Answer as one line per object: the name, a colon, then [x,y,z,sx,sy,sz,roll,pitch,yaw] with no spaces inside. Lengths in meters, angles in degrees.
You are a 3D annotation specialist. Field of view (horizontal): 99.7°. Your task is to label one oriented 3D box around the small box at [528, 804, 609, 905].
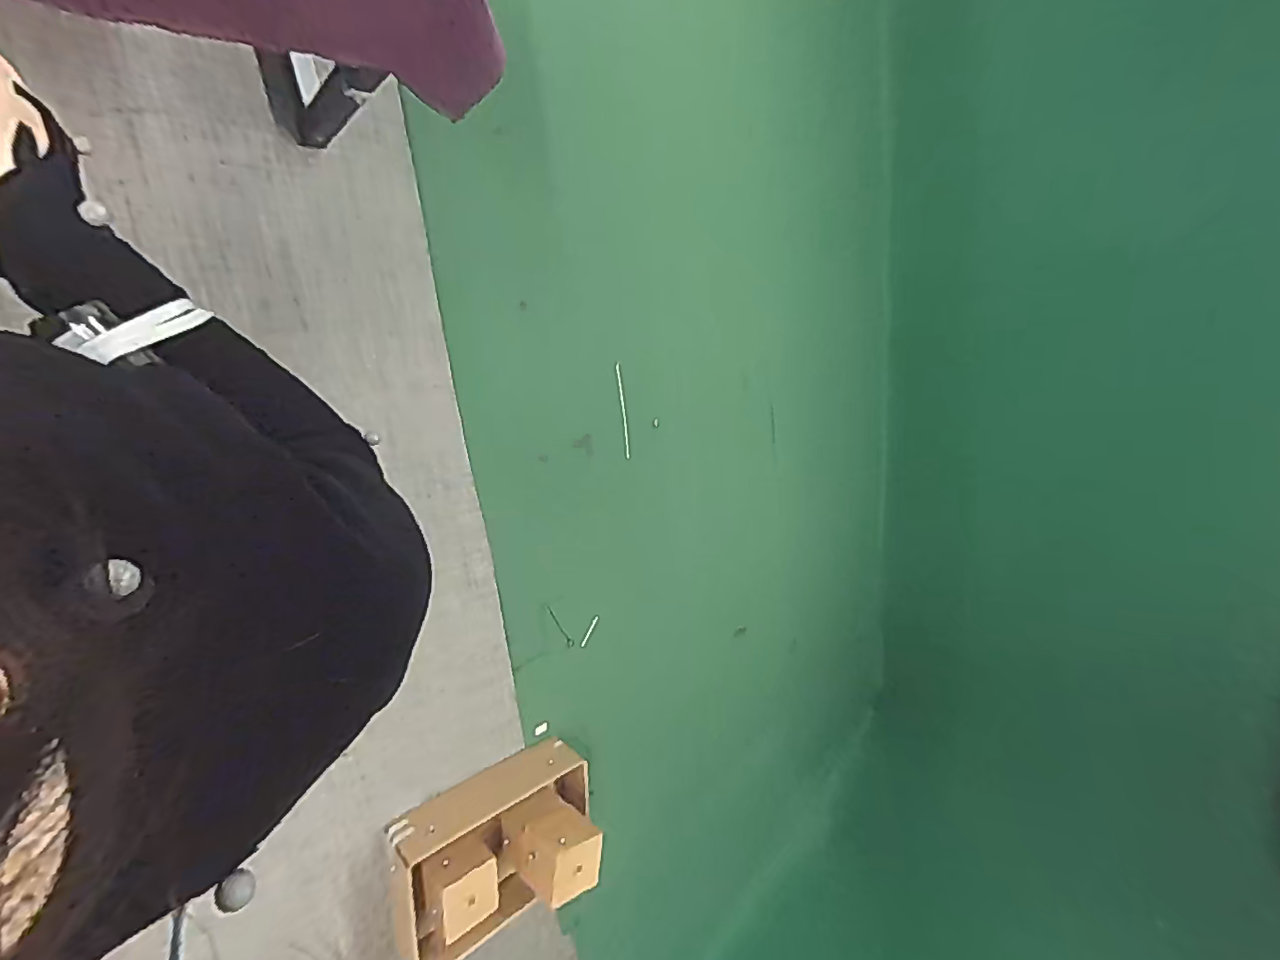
small box: [-0.221,1.142,1.668,0.179,0.176,0.168,5,92,-42]
